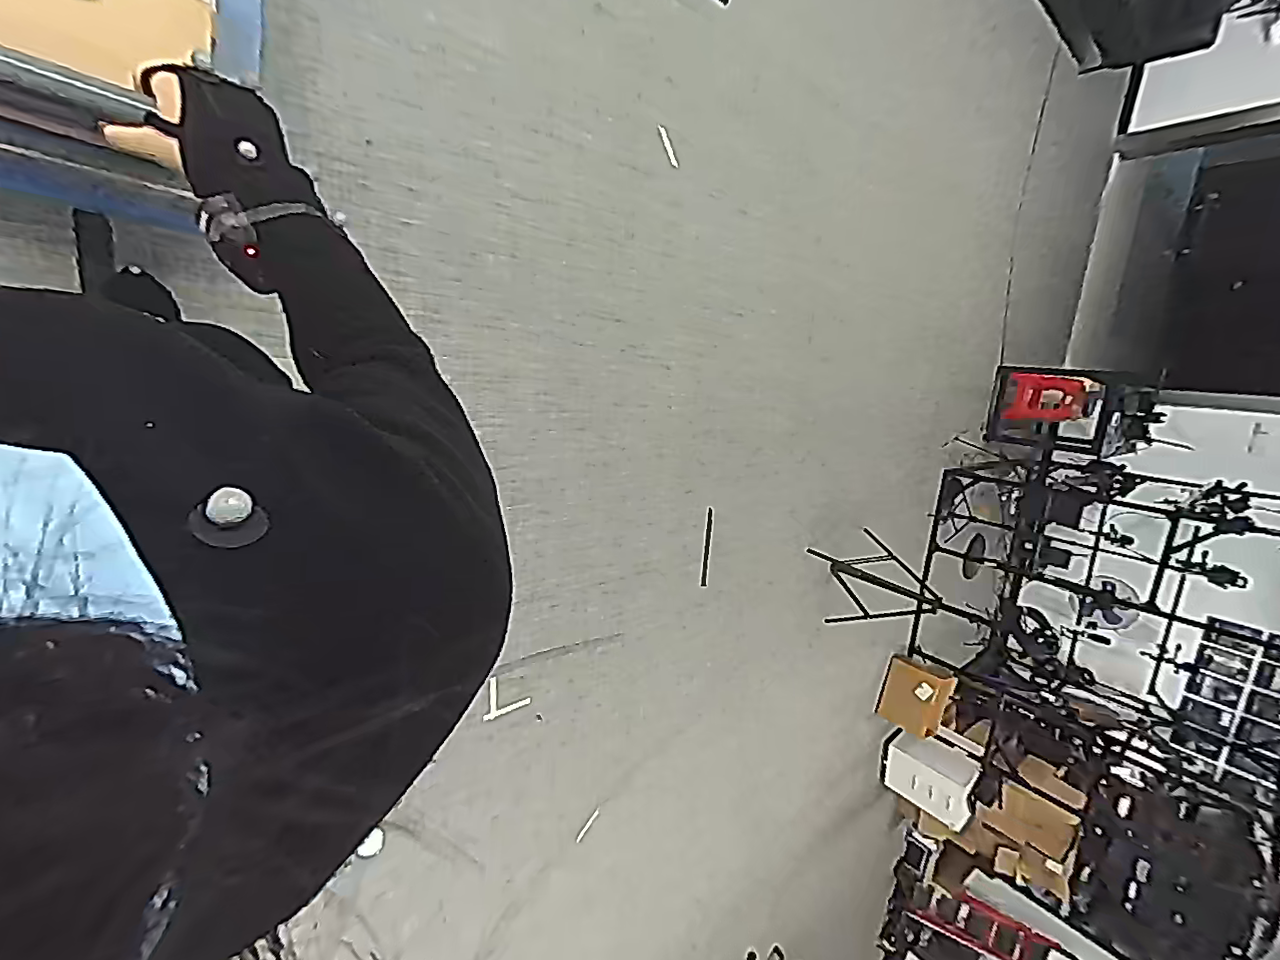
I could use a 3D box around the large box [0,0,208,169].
[{"bbox_3d":[-0.814,-0.656,0.682,0.408,0.320,0.320,0,103,-42],"label":"large box"}]
